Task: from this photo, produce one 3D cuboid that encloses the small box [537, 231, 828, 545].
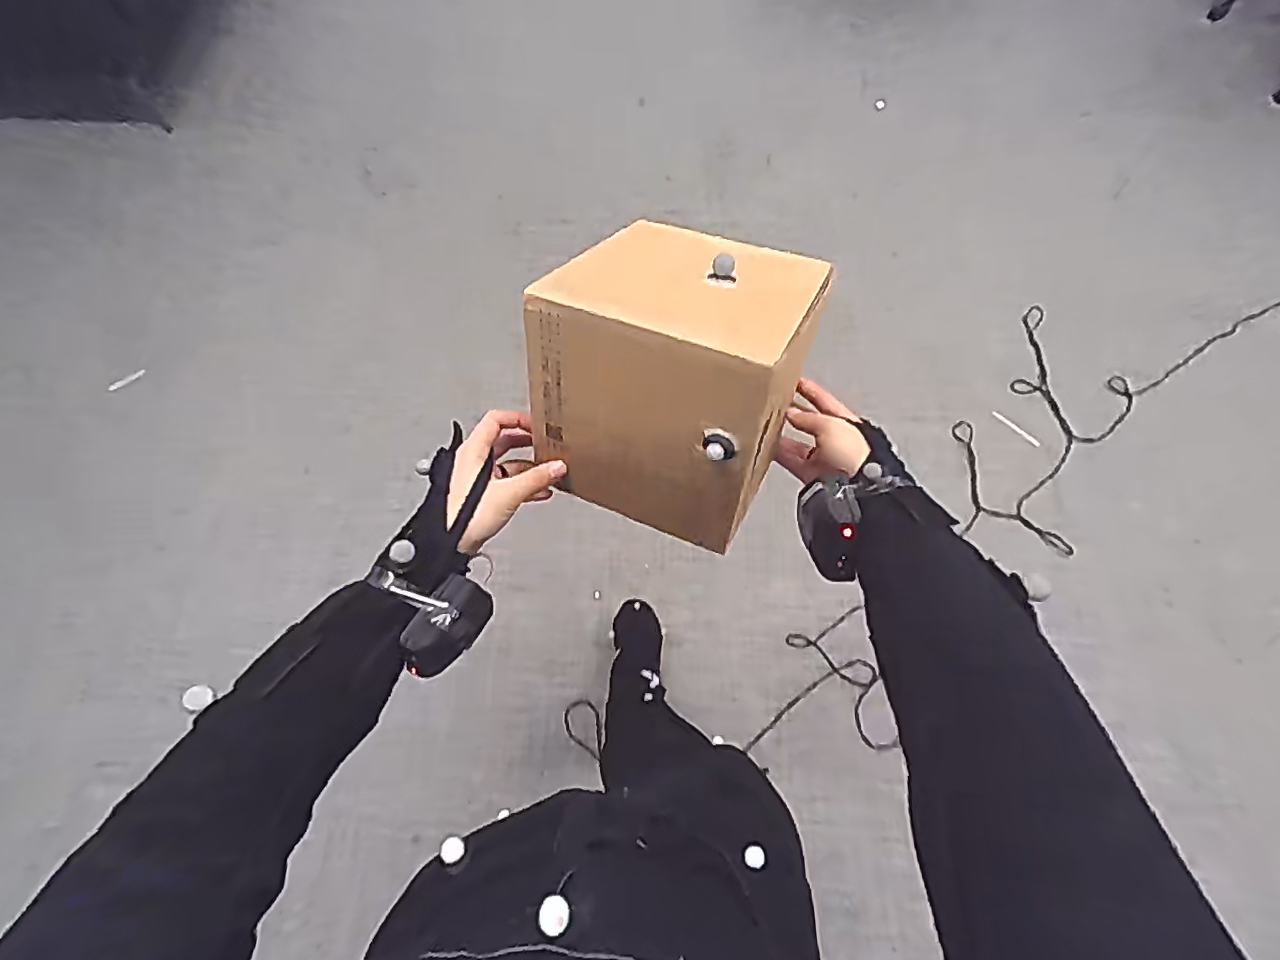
[{"bbox_3d":[0.033,-0.085,0.441,0.176,0.168,0.179,20,44,15],"label":"small box"}]
